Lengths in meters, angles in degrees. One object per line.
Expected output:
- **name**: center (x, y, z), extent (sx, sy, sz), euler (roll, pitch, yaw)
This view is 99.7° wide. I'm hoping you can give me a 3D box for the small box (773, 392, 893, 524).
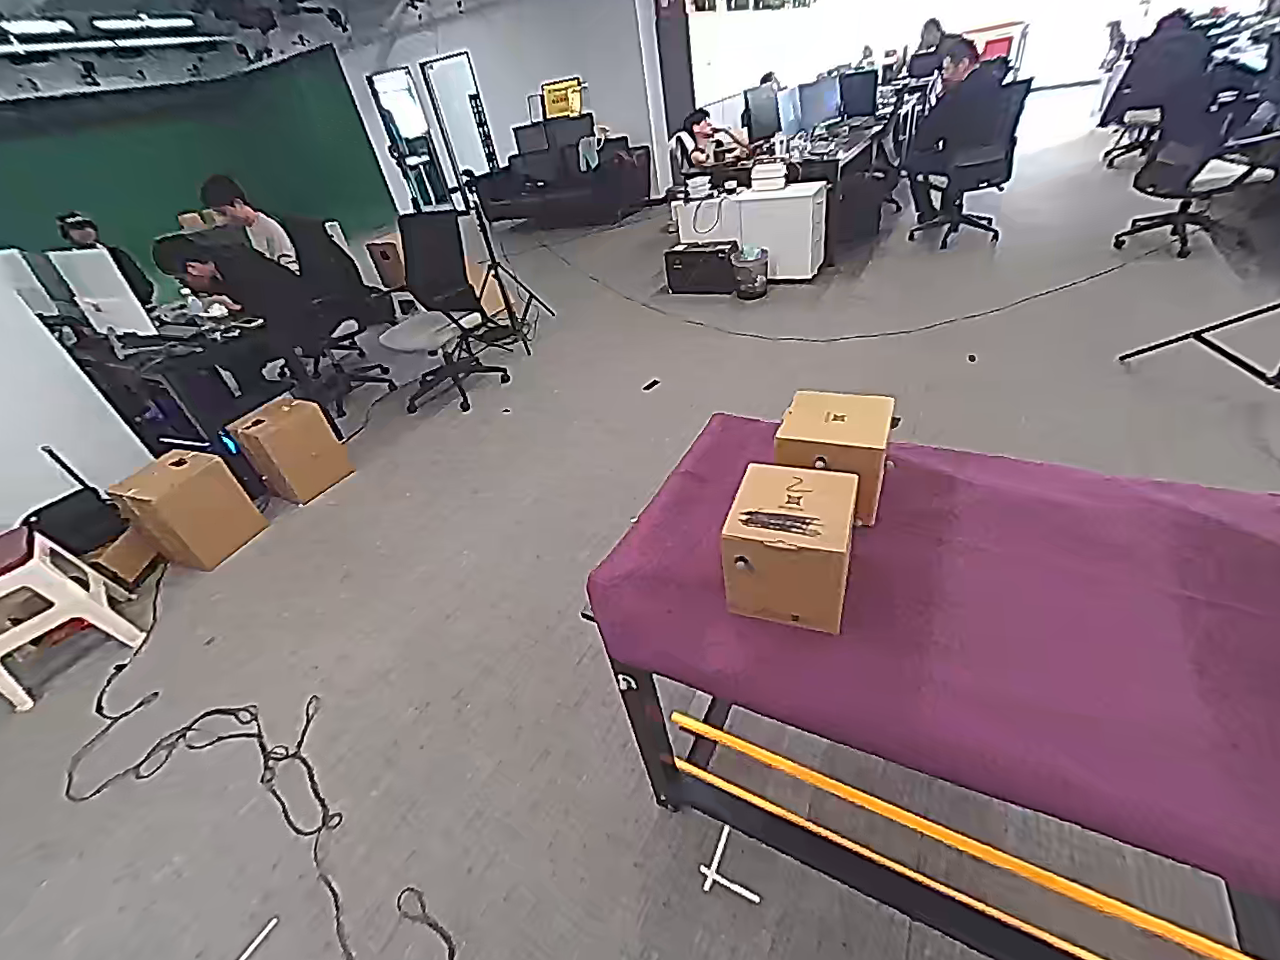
- **small box**: center (0.350, -0.040, 0.986), extent (0.179, 0.176, 0.168), euler (9, 41, 25)
